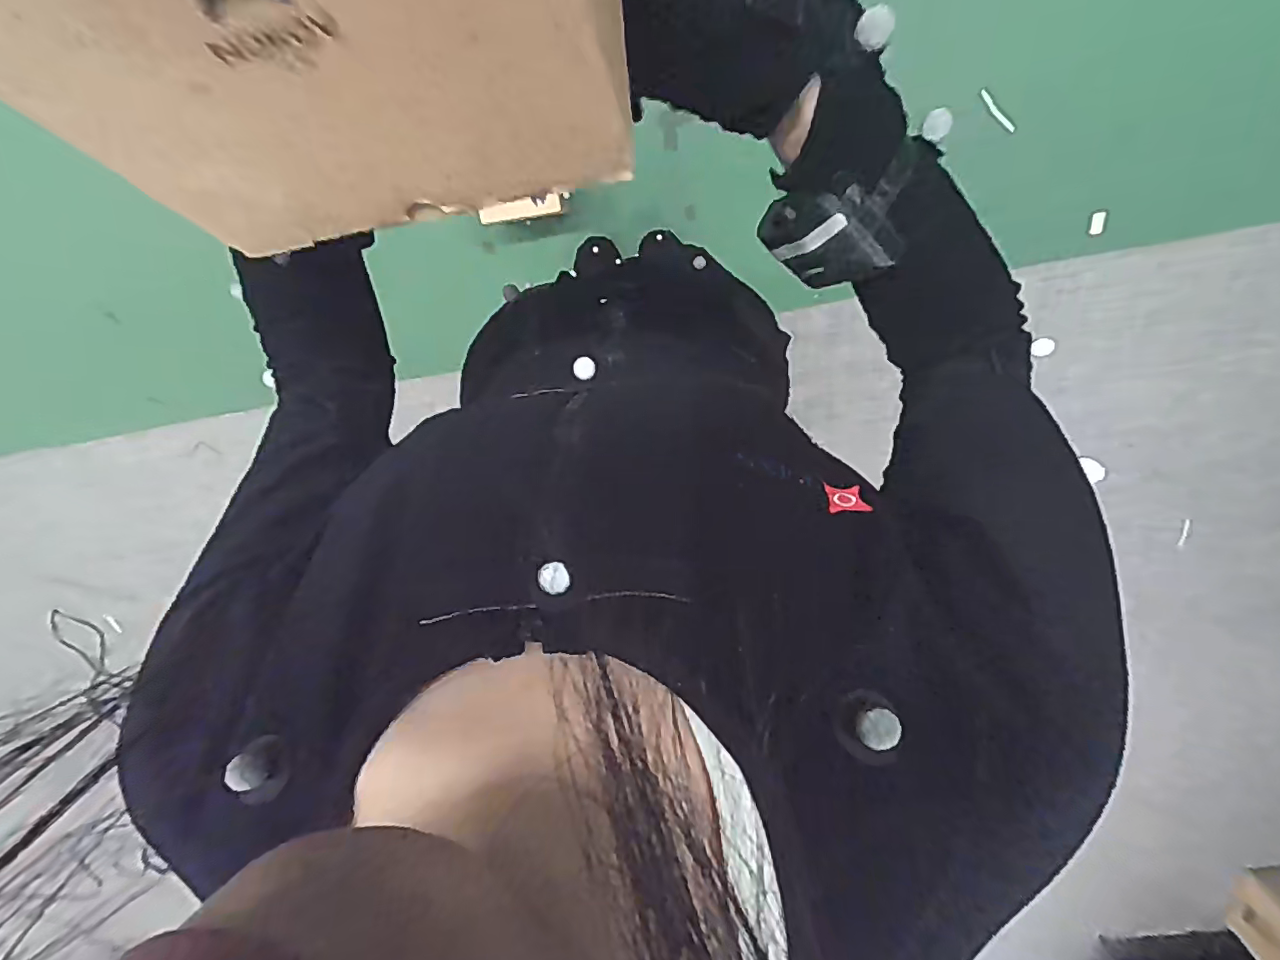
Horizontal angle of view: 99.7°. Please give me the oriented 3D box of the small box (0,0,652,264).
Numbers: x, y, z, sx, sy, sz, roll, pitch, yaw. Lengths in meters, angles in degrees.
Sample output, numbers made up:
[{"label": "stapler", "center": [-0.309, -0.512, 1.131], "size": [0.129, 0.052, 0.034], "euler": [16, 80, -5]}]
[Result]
[{"label": "small box", "center": [-0.095, -0.195, 0.150], "size": [0.168, 0.179, 0.176], "euler": [-7, 81, 8]}]
